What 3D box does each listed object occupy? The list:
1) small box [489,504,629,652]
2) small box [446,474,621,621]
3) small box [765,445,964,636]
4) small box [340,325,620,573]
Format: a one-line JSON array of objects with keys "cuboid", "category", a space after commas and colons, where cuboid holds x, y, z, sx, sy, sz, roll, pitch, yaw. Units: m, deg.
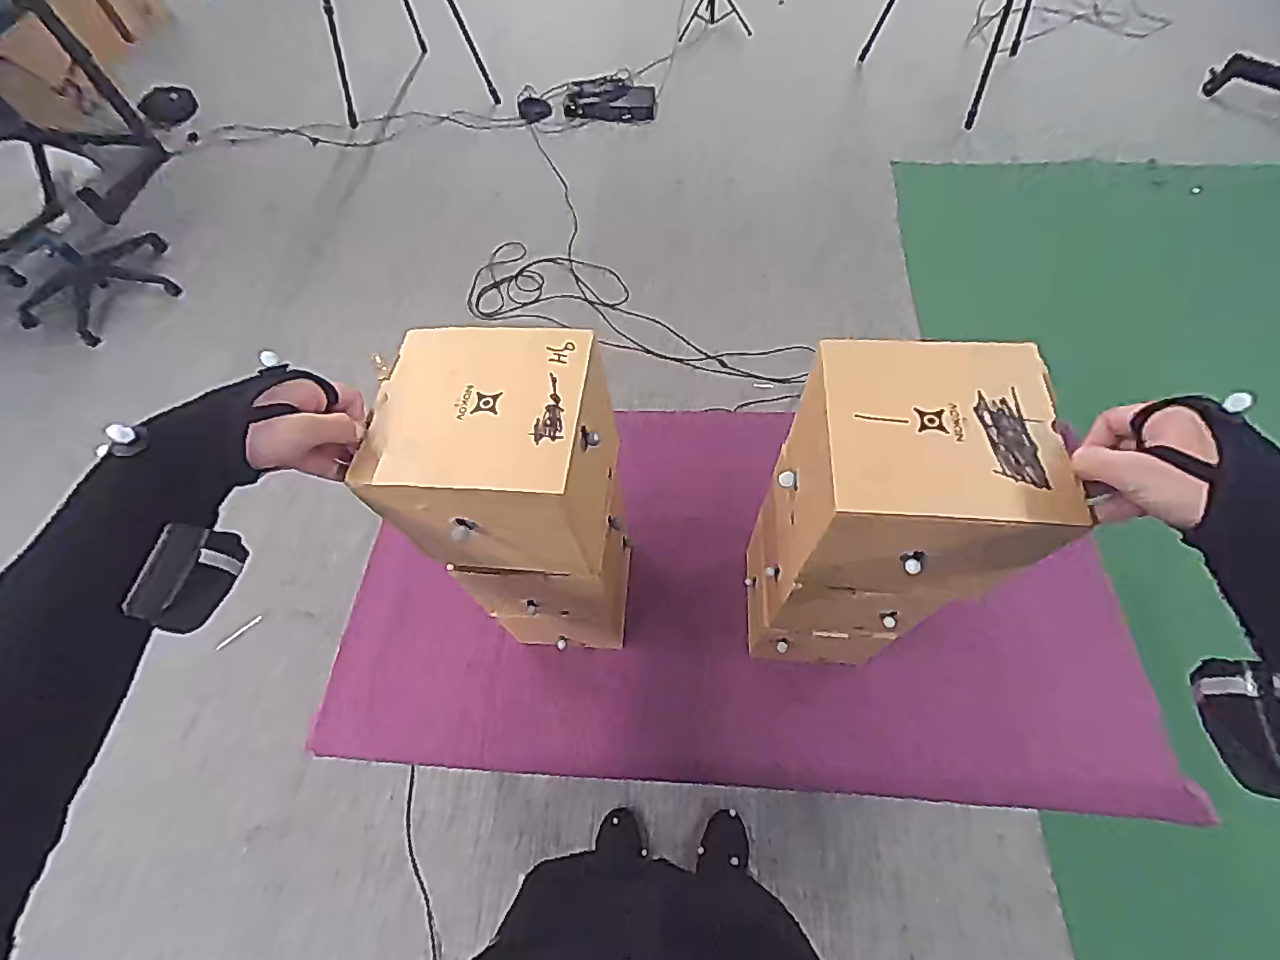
[{"cuboid": [-0.107, 0.144, 0.808, 0.168, 0.176, 0.179, 2, 61, 5], "category": "small box"}, {"cuboid": [-0.114, 0.063, 0.667, 0.168, 0.176, 0.179, 1, 62, 3], "category": "small box"}, {"cuboid": [0.244, 0.078, 0.638, 0.168, 0.176, 0.179, 2, 60, 4], "category": "small box"}, {"cuboid": [-0.124, -0.023, 0.500, 0.179, 0.176, 0.168, 3, 60, 8], "category": "small box"}]
